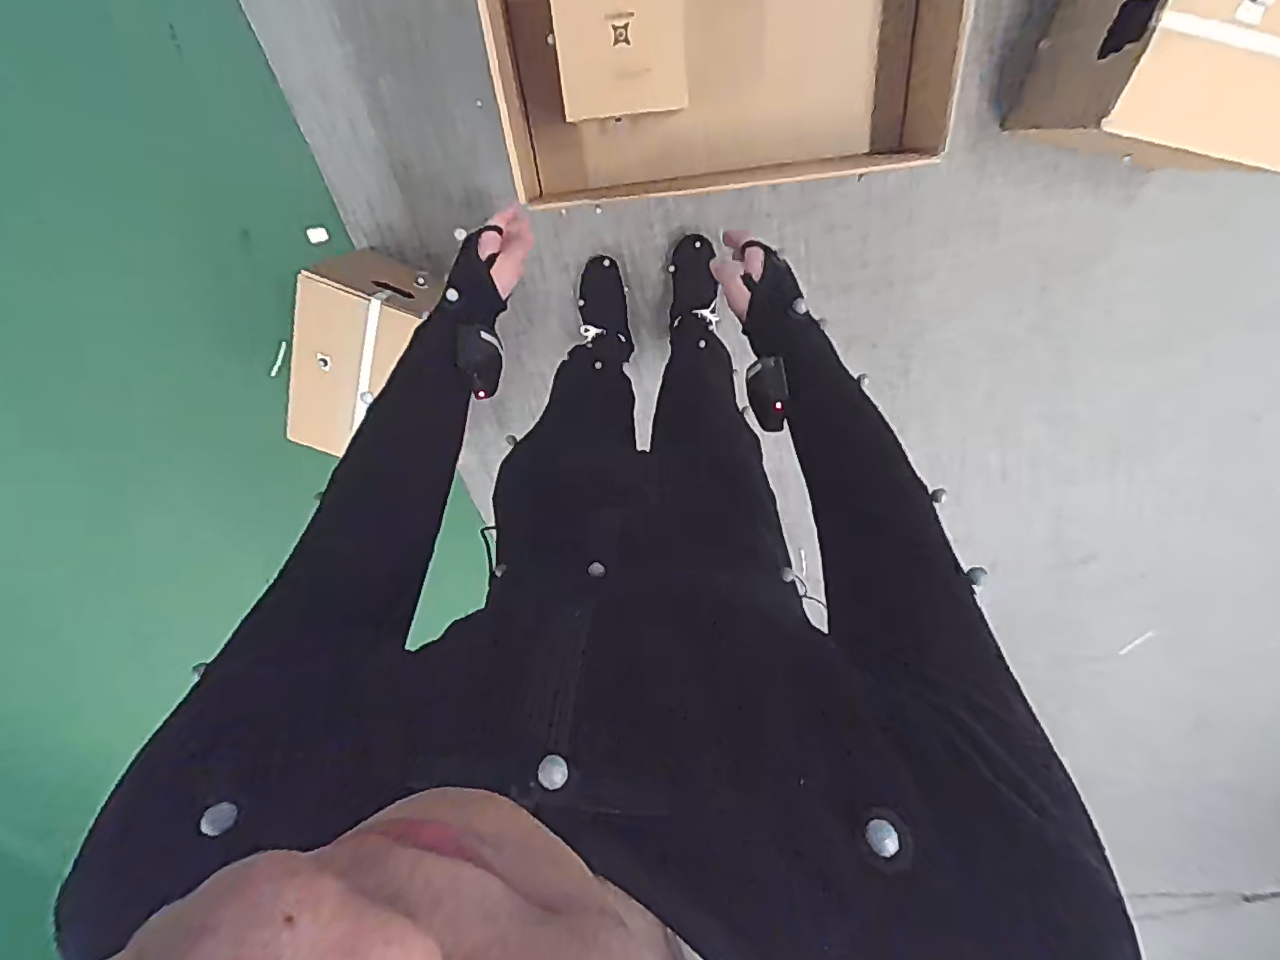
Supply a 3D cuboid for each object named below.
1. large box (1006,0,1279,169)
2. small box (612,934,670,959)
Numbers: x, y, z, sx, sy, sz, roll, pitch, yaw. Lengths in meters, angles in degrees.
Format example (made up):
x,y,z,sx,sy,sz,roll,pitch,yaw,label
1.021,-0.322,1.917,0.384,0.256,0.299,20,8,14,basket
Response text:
x,y,z,sx,sy,sz,roll,pitch,yaw,label
1.031,-0.802,1.019,0.408,0.320,0.320,9,121,-5,large box
0.009,1.572,1.710,0.168,0.176,0.179,-11,124,5,small box
